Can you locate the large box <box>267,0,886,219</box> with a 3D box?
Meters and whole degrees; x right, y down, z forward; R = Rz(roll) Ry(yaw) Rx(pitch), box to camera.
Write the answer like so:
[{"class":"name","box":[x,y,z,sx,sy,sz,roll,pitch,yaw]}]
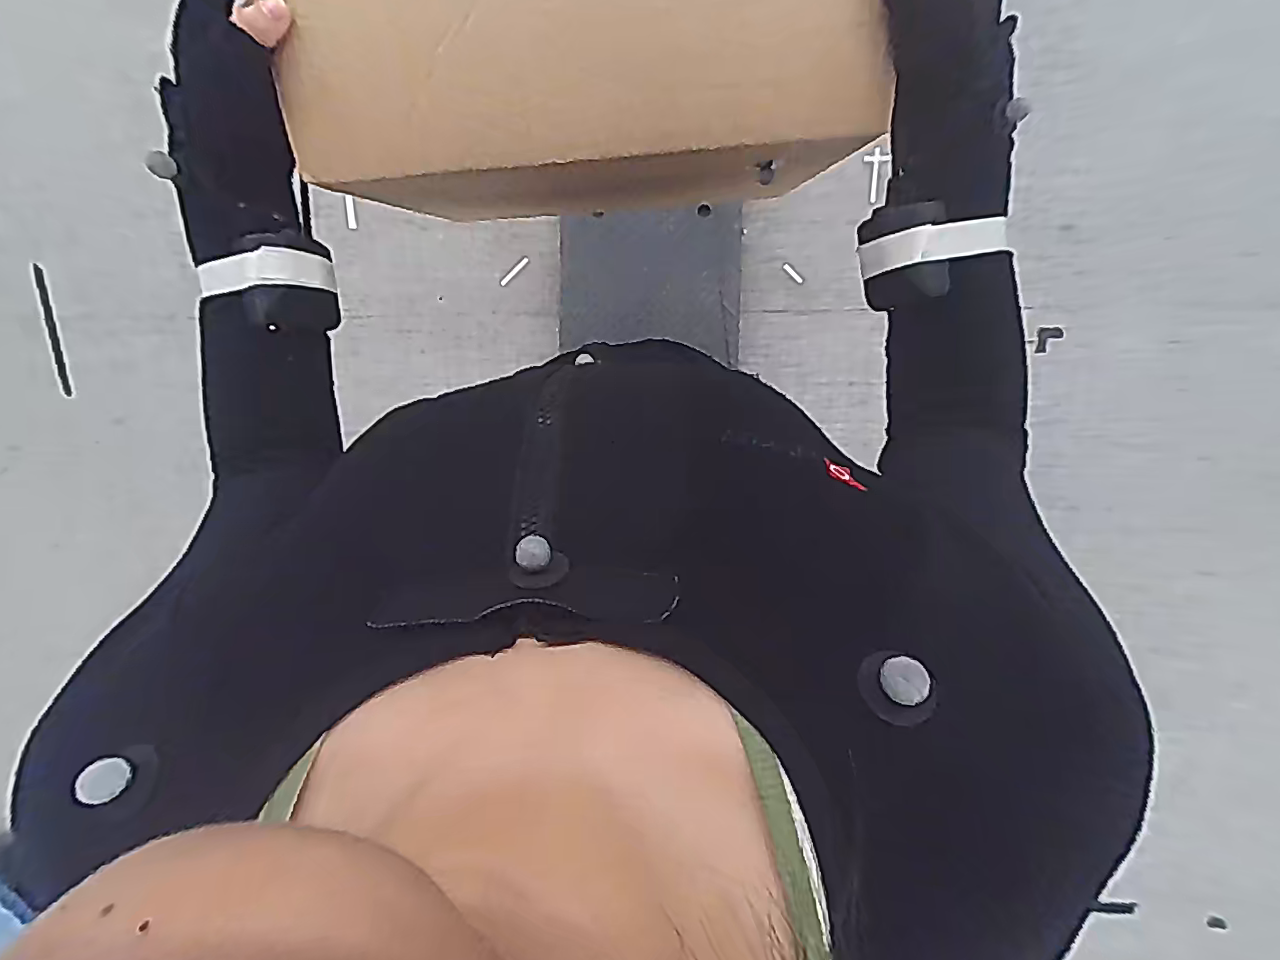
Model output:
[{"class":"large box","box":[-0.043,-0.419,0.465,0.408,0.320,0.320,-4,110,2]}]
